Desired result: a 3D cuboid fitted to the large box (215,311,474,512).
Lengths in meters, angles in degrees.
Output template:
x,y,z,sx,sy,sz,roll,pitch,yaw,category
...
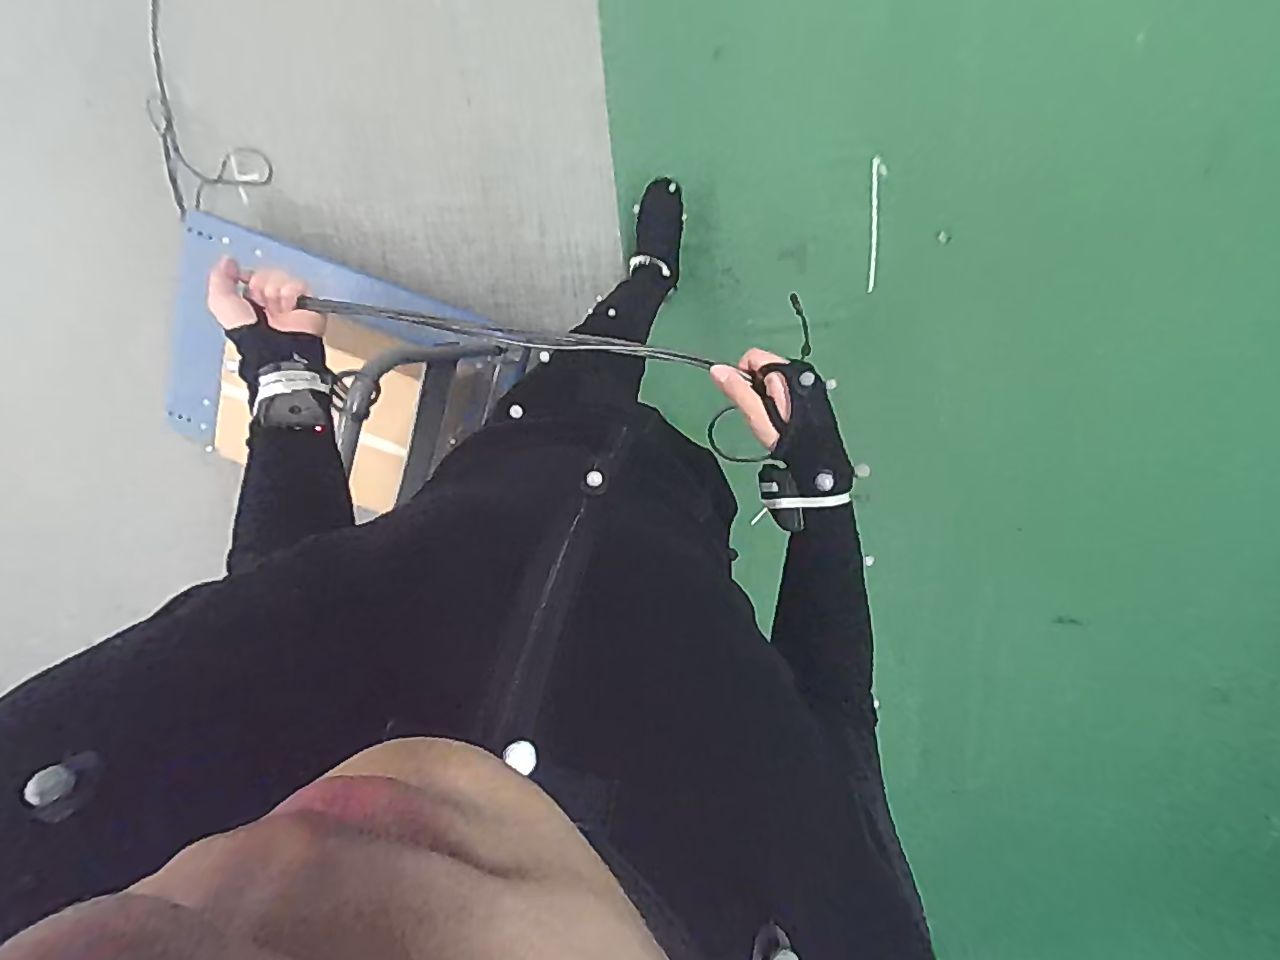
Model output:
x,y,z,sx,sy,sz,roll,pitch,yaw,category
-0.655,-0.174,1.250,0.408,0.320,0.320,21,106,-3,large box
